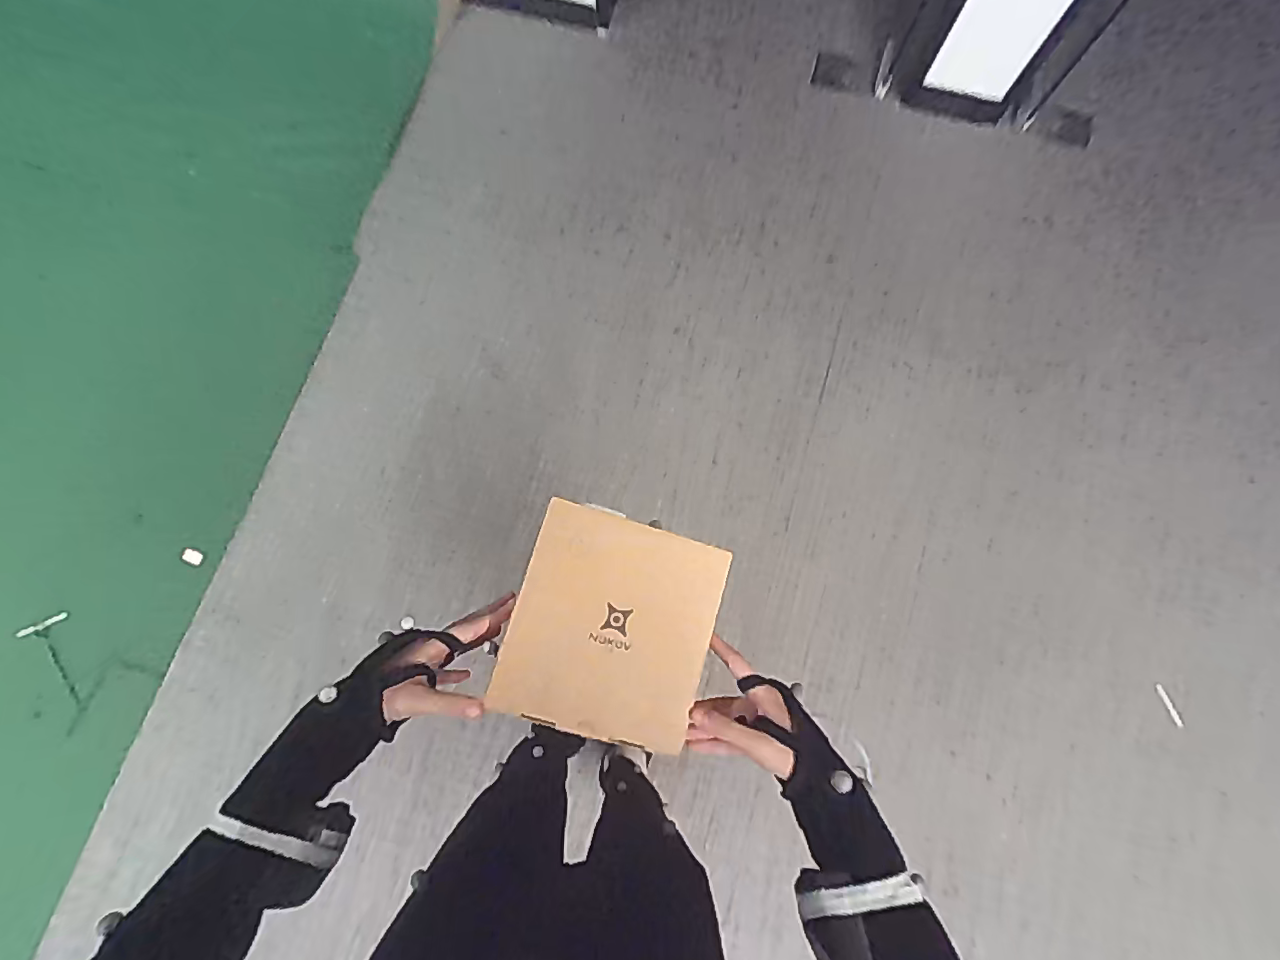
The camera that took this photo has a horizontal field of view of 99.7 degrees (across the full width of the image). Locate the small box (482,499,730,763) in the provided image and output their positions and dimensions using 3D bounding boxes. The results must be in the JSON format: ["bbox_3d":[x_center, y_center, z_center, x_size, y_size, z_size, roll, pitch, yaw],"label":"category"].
[{"bbox_3d":[-0.036,0.131,0.514,0.168,0.176,0.179,18,80,-7],"label":"small box"}]
